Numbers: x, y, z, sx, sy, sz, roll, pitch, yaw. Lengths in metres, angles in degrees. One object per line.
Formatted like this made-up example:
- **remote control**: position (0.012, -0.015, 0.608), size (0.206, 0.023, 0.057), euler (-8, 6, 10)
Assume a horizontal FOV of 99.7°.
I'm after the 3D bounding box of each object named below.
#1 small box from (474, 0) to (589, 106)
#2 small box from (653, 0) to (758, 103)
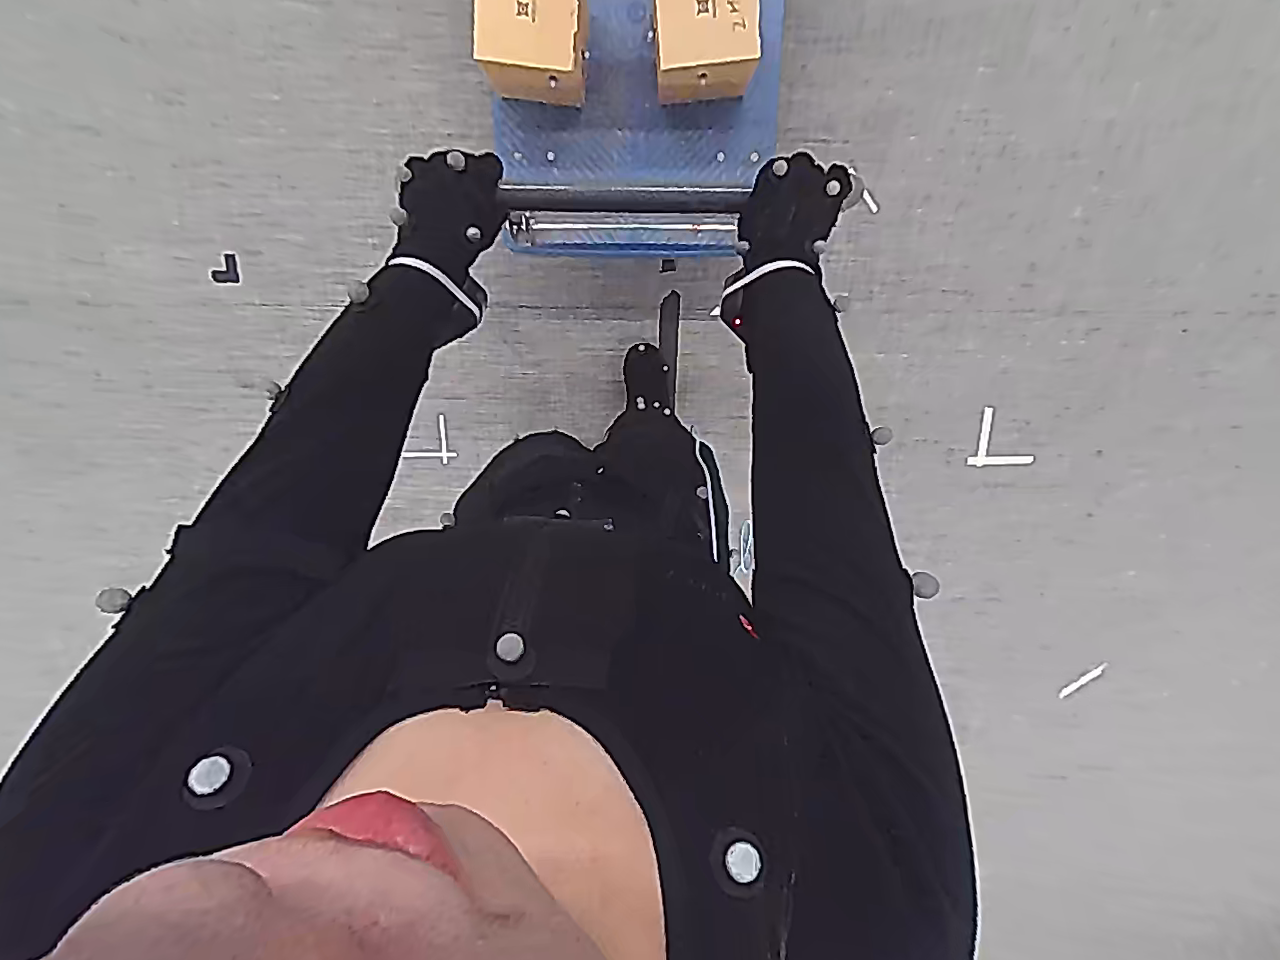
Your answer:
- **small box**: position (-0.193, -0.818, 0.993), size (0.179, 0.176, 0.168), euler (6, 107, -2)
- **small box**: position (0.114, -0.817, 0.988), size (0.179, 0.176, 0.168), euler (-4, 107, 2)
